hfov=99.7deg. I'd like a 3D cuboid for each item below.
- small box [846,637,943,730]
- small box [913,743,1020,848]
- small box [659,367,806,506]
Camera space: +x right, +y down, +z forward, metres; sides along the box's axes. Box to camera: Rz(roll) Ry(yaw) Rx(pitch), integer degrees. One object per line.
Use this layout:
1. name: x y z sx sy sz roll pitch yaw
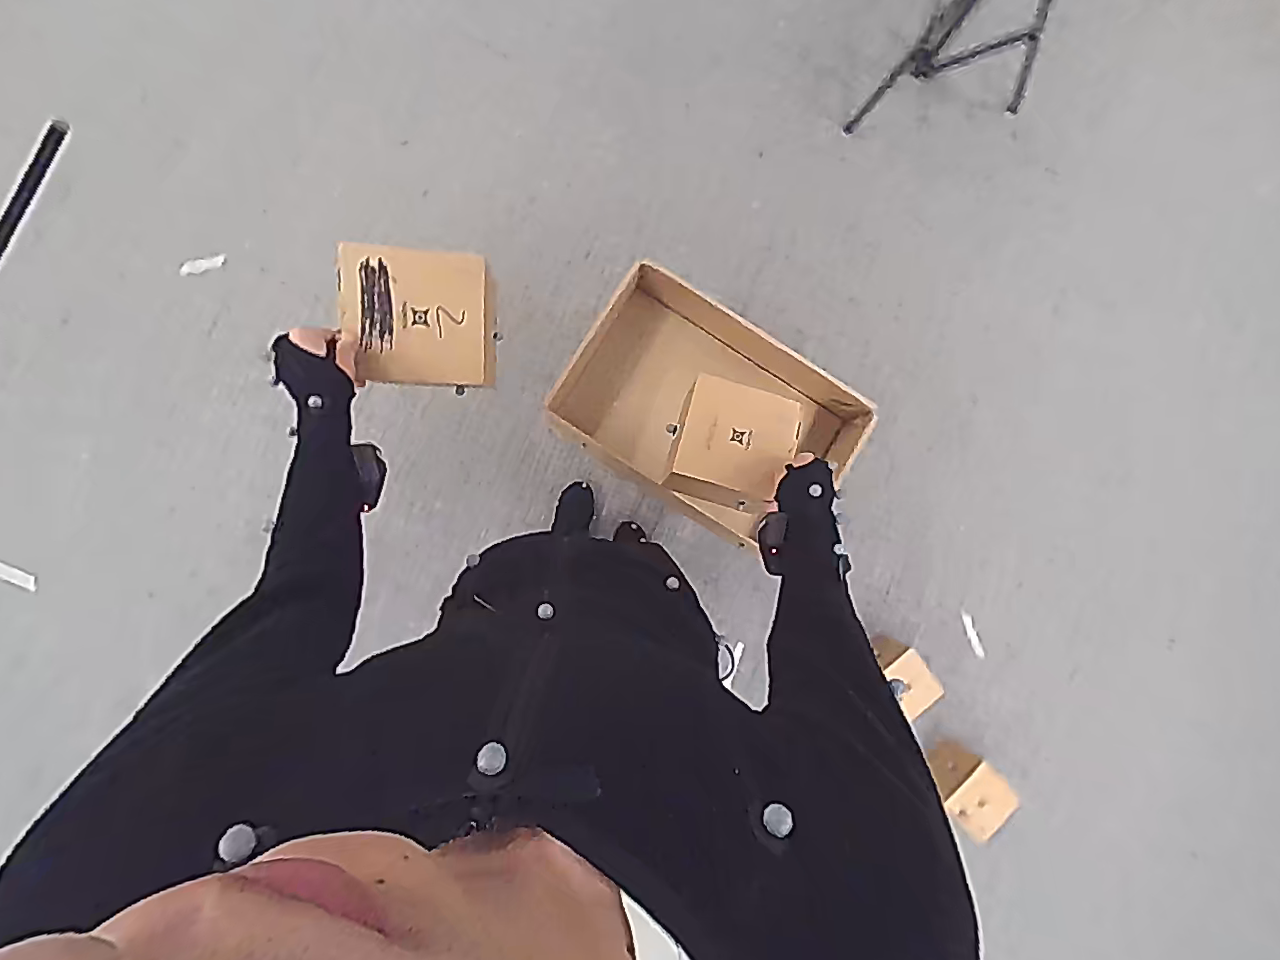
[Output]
1. small box: 0.743 0.597 1.607 0.179 0.176 0.168 -35 91 -5
2. small box: 0.962 0.927 1.611 0.179 0.176 0.168 -42 91 -6
3. small box: 0.143 -0.060 0.887 0.179 0.176 0.168 16 80 -3
